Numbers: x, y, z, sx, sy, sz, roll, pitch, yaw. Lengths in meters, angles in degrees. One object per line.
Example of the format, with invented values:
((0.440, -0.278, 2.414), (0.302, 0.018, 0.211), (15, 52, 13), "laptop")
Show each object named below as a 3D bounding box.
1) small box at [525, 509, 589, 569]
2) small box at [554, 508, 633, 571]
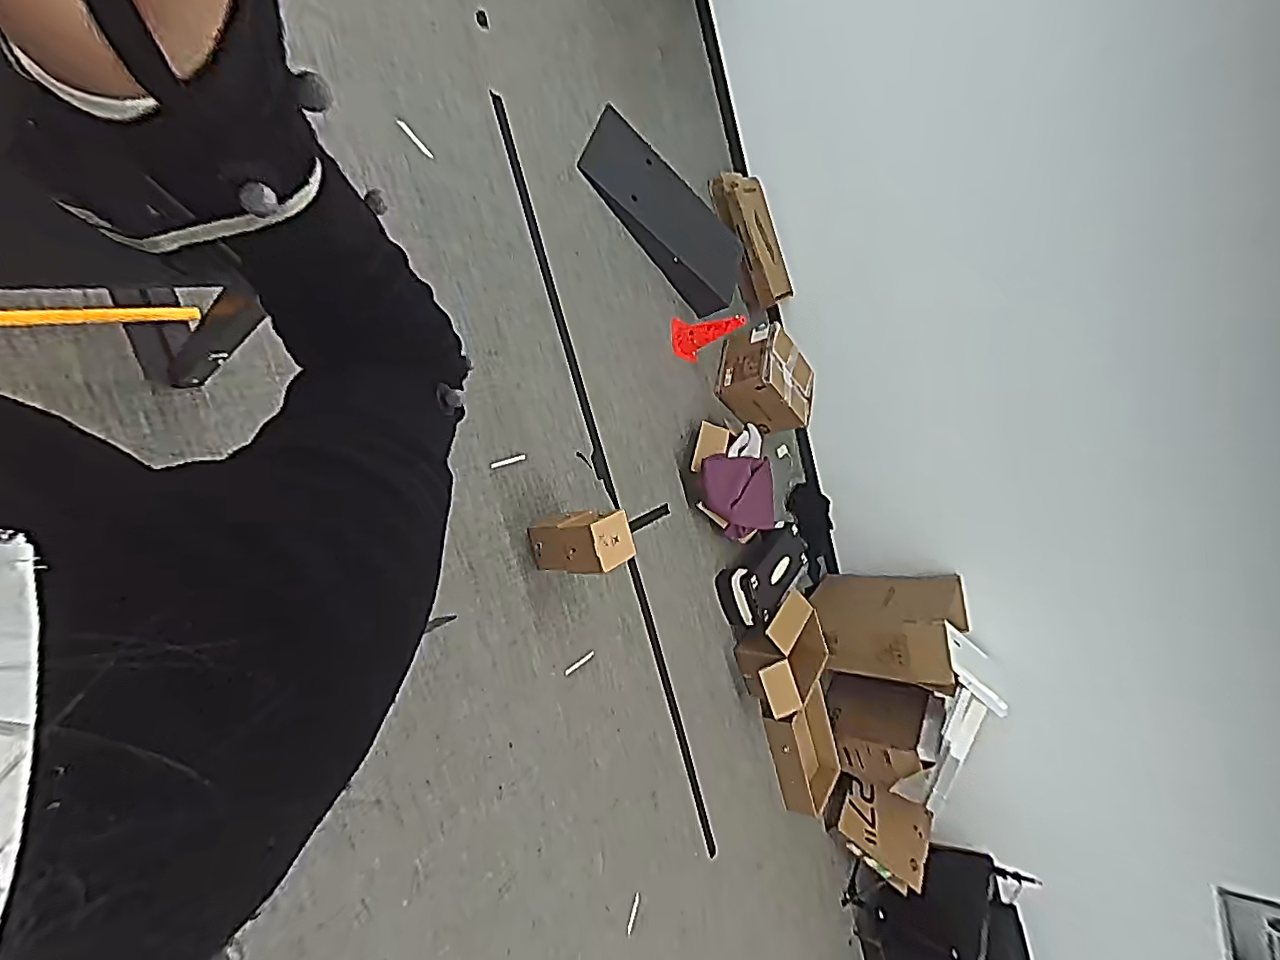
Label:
((-0.279, 0.209, 1.932), (0.179, 0.176, 0.168), (-24, 101, -48), "small box")
((-0.157, 0.200, 1.821), (0.179, 0.176, 0.168), (-23, 100, -49), "small box")
